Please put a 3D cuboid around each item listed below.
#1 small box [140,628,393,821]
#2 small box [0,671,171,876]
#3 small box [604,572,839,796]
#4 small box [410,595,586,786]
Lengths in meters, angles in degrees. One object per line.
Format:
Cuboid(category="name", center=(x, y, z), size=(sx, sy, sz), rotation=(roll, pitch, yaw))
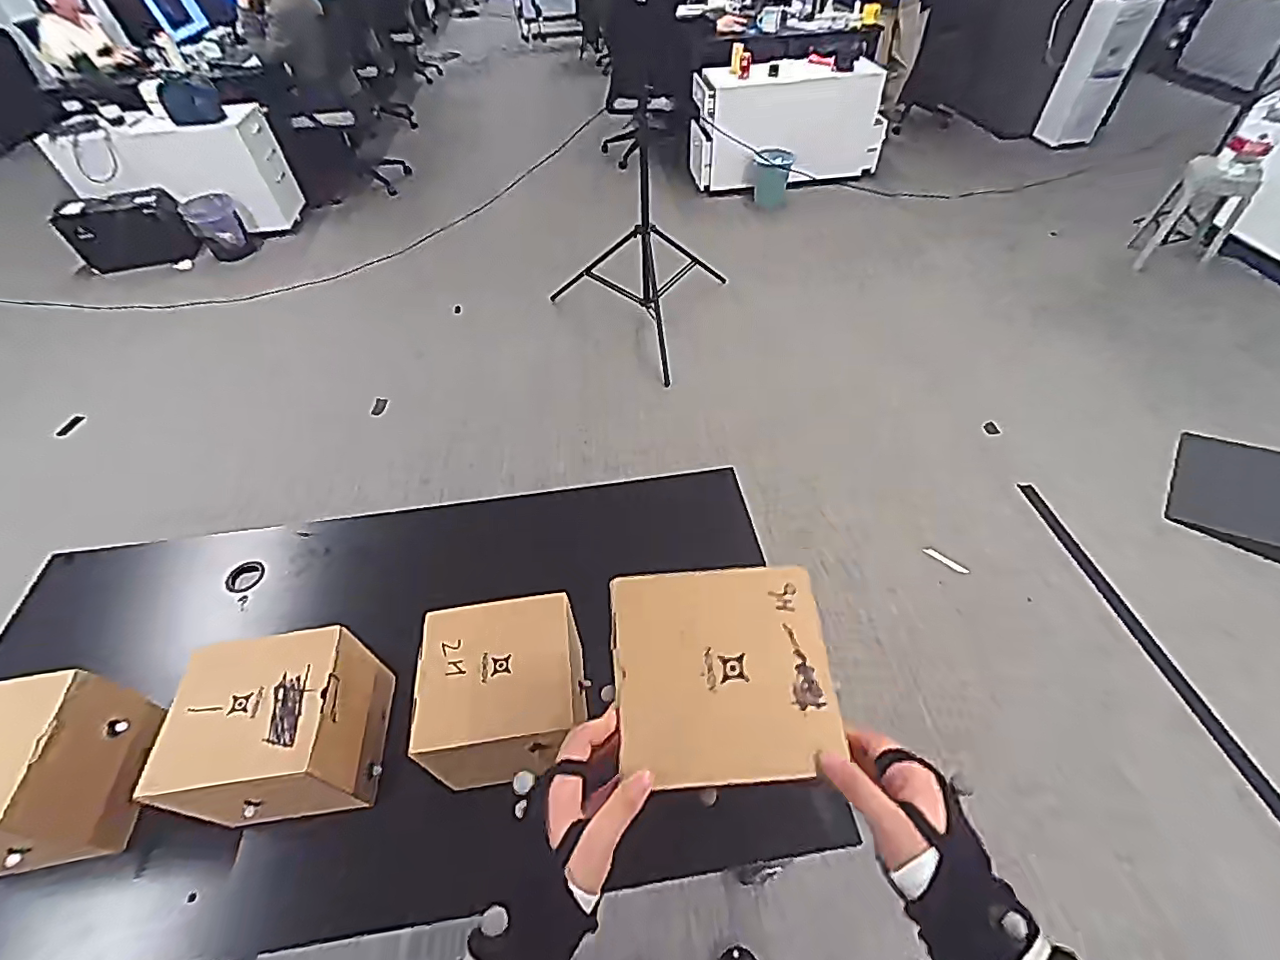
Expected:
Cuboid(category="small box", center=(-0.430, 0.303, 0.665), size=(0.179, 0.176, 0.168), rotation=(-8, 49, -2))
Cuboid(category="small box", center=(-0.721, 0.350, 0.642), size=(0.179, 0.176, 0.168), rotation=(-10, 49, -5))
Cuboid(category="small box", center=(0.062, 0.199, 0.512), size=(0.179, 0.176, 0.168), rotation=(-4, 59, -1))
Cuboid(category="small box", center=(-0.163, 0.267, 0.682), size=(0.179, 0.176, 0.168), rotation=(-8, 48, -4))
